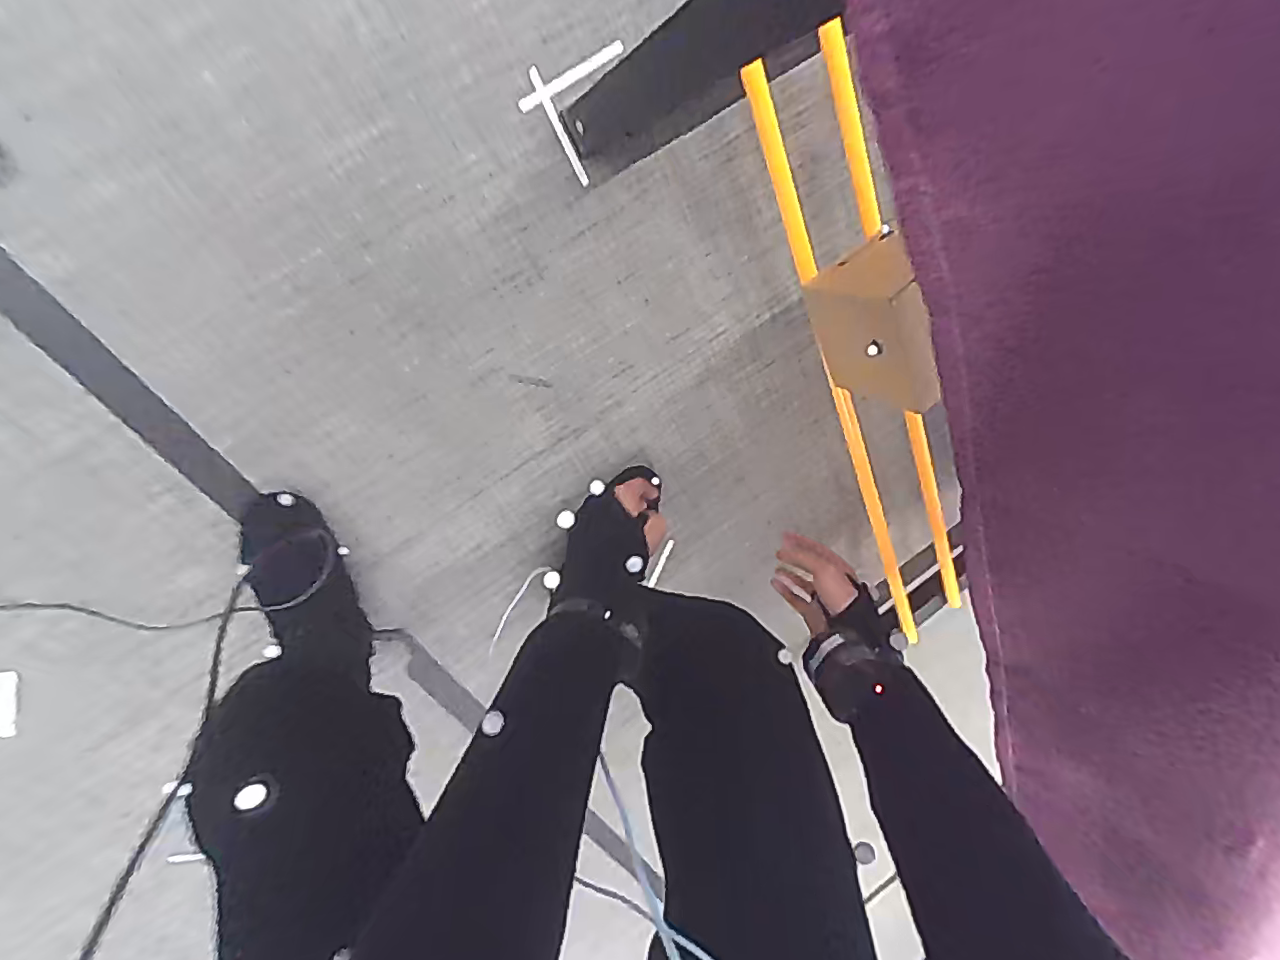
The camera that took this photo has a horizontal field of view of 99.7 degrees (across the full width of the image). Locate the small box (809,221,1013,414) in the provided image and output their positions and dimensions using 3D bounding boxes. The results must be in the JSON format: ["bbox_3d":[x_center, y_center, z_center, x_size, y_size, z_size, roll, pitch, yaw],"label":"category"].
[{"bbox_3d":[0.359,-0.222,0.731,0.168,0.176,0.179,-36,123,-4],"label":"small box"}]
